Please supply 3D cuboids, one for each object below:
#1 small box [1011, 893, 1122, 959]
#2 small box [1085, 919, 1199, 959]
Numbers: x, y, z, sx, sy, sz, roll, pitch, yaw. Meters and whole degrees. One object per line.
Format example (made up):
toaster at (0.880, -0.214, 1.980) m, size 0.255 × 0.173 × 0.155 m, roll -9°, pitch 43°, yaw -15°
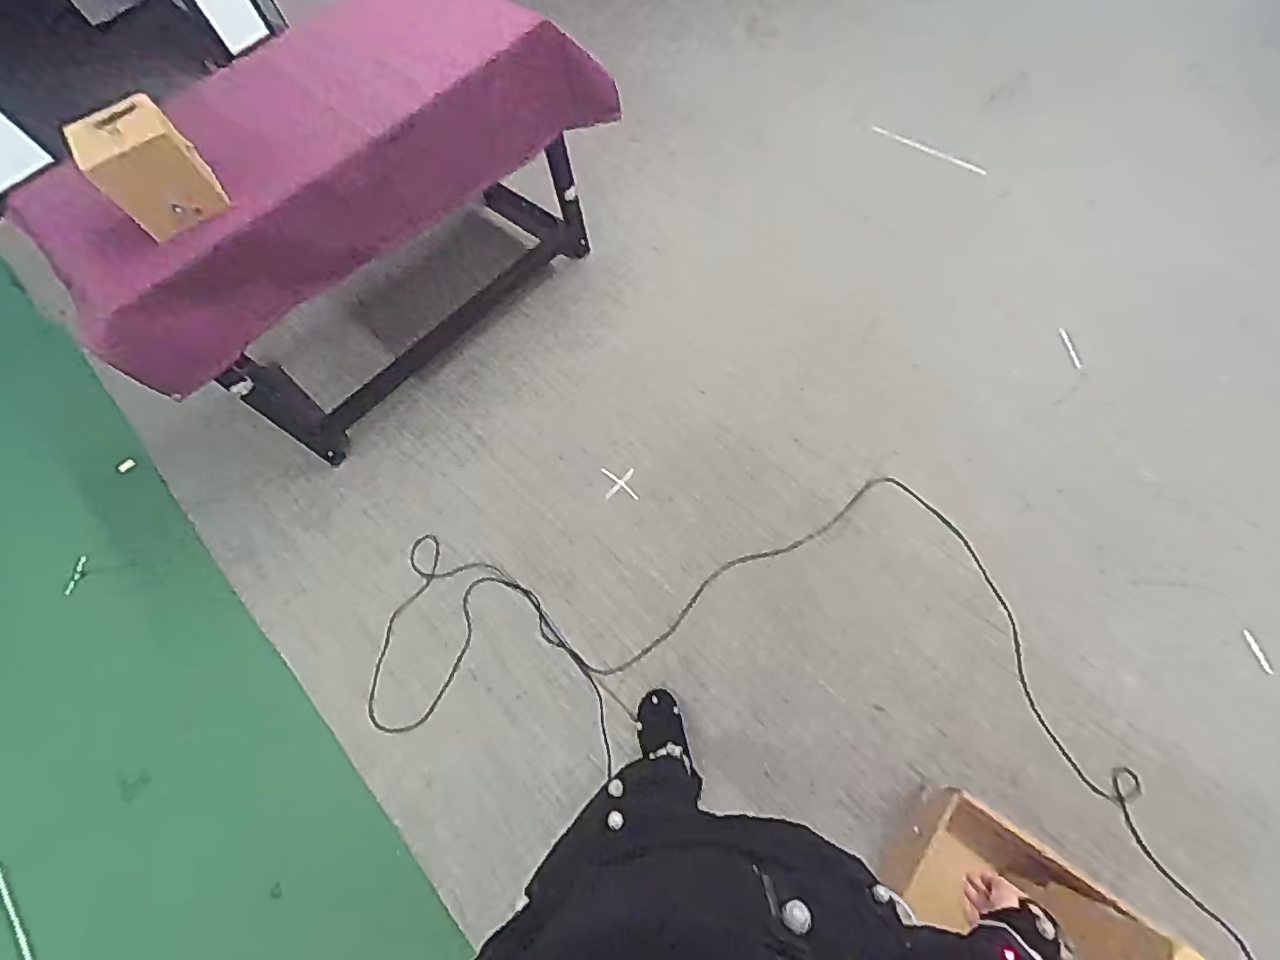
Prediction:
small box at (0.702, 0.777, 0.815) m, size 0.168 × 0.176 × 0.179 m, roll 36°, pitch 75°, yaw 23°
small box at (0.680, 0.706, 0.671) m, size 0.168 × 0.176 × 0.179 m, roll 31°, pitch 71°, yaw 22°
